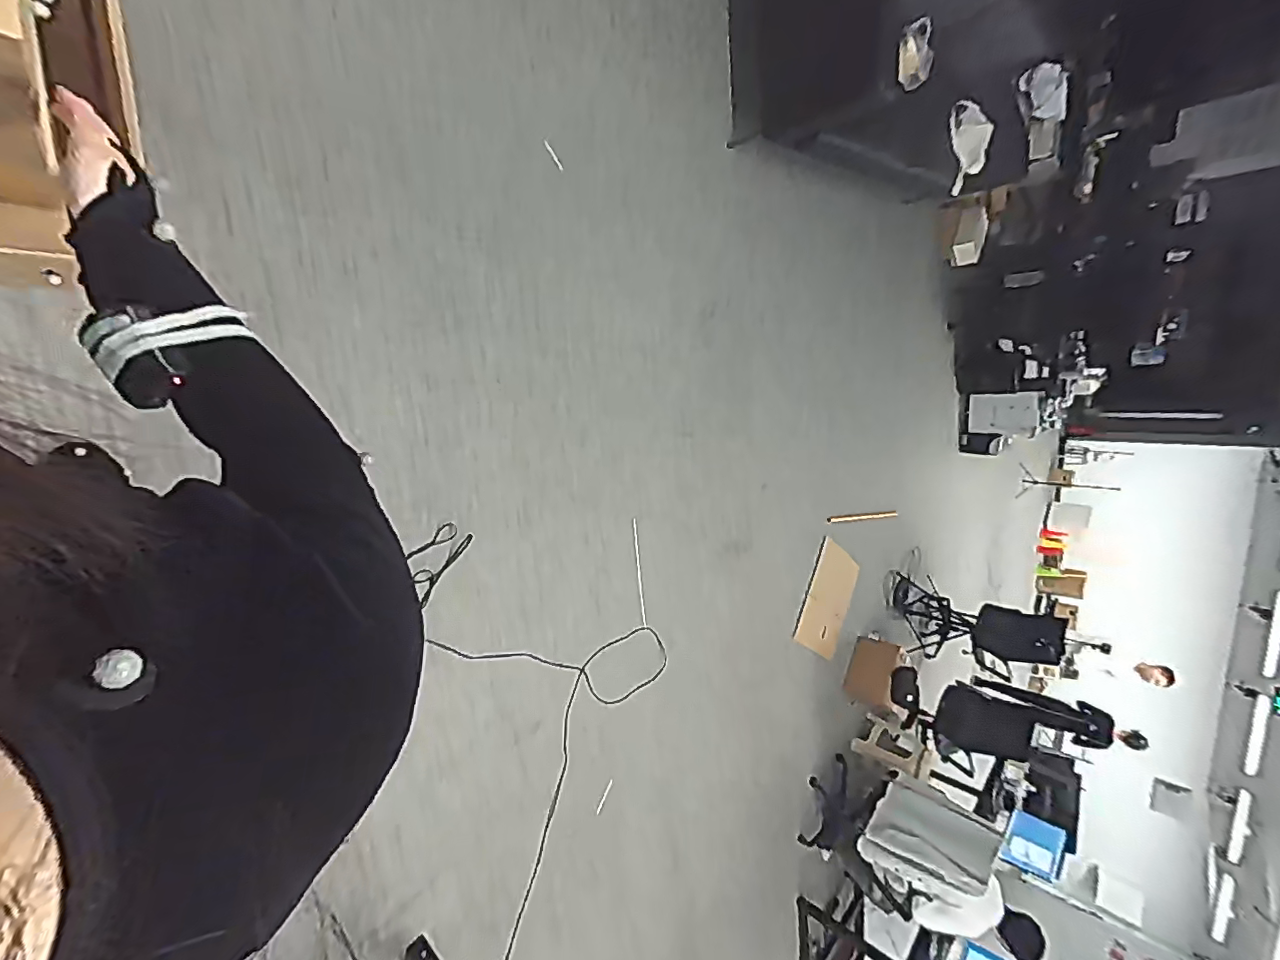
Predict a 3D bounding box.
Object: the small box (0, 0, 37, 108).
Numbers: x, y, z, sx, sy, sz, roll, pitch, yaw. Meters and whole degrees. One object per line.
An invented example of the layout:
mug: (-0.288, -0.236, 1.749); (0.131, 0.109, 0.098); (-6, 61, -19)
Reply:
small box: (-0.523, -0.376, 0.344); (0.179, 0.176, 0.168); (-5, 100, -43)

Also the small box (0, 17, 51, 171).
small box: (-0.637, -0.399, 0.461); (0.168, 0.176, 0.179); (-7, 102, -43)
